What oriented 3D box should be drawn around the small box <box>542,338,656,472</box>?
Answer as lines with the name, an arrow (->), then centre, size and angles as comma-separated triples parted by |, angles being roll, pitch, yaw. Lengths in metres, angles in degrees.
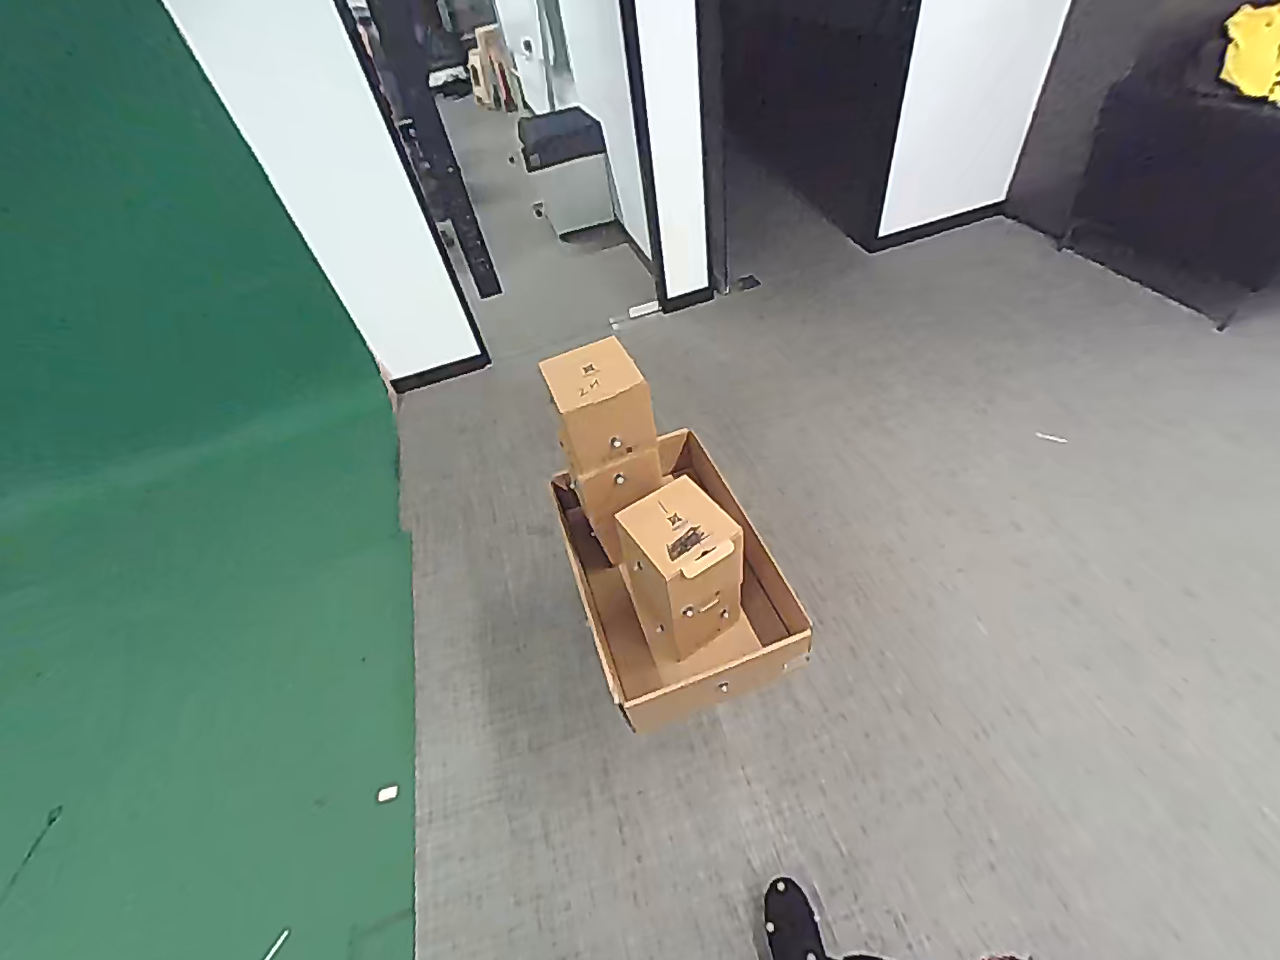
small box -> -0.079, -0.148, 1.081 | 0.168, 0.176, 0.179 | -22, 49, -7

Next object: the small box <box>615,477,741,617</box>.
small box -> 0.076, 0.134, 1.025 | 0.168, 0.176, 0.179 | -28, 49, -16

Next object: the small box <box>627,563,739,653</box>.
small box -> 0.095, 0.241, 1.147 | 0.168, 0.176, 0.179 | -28, 49, -16

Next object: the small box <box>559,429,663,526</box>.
small box -> -0.058, -0.030, 1.195 | 0.179, 0.176, 0.168 | -23, 49, -9
